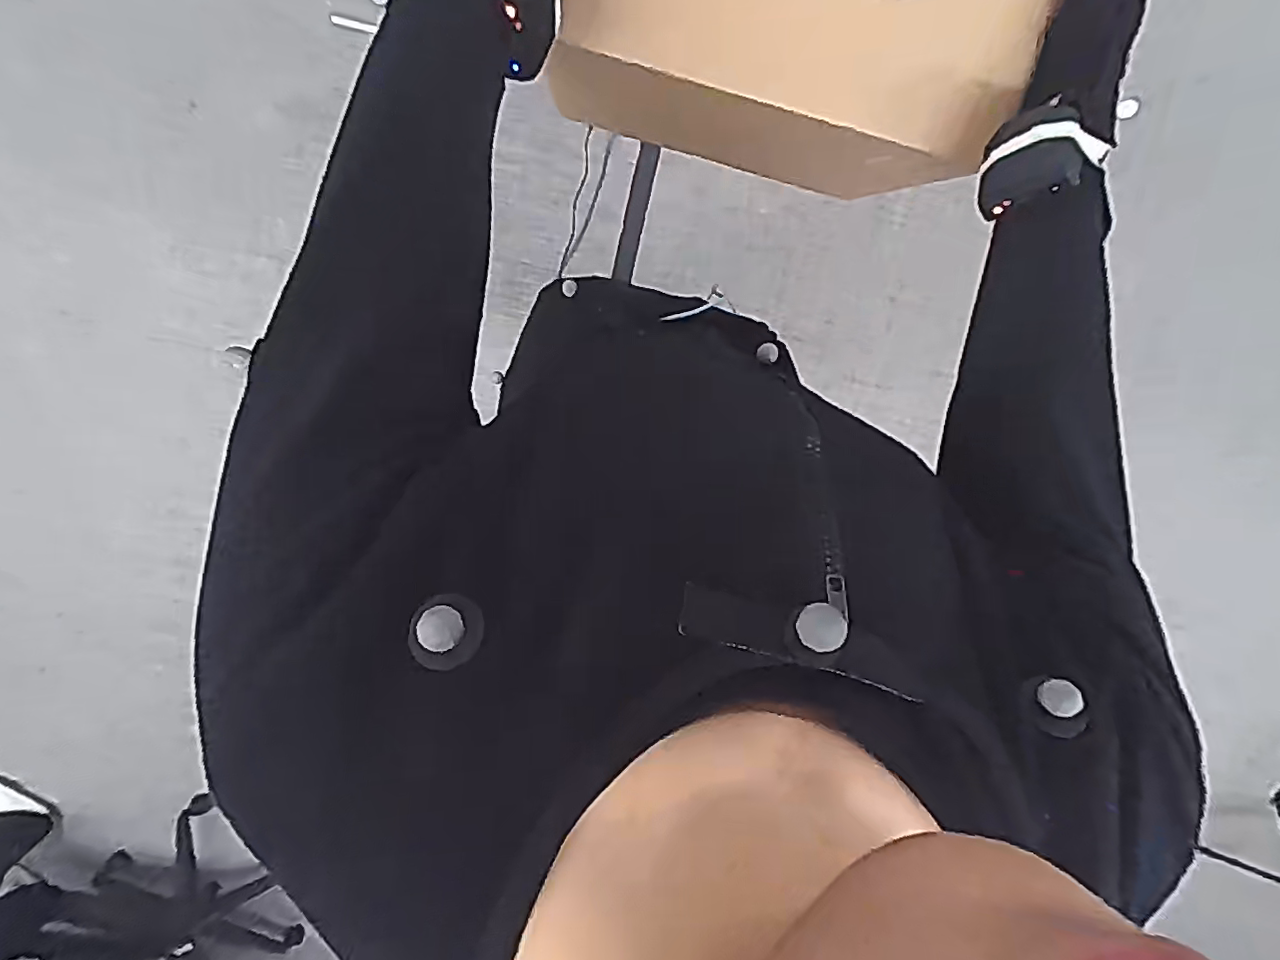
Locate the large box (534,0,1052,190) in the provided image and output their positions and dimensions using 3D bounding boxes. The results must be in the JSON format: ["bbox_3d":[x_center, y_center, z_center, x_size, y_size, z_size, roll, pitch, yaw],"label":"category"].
[{"bbox_3d":[0.133,-0.508,0.522,0.408,0.320,0.320,11,113,-8],"label":"large box"}]
